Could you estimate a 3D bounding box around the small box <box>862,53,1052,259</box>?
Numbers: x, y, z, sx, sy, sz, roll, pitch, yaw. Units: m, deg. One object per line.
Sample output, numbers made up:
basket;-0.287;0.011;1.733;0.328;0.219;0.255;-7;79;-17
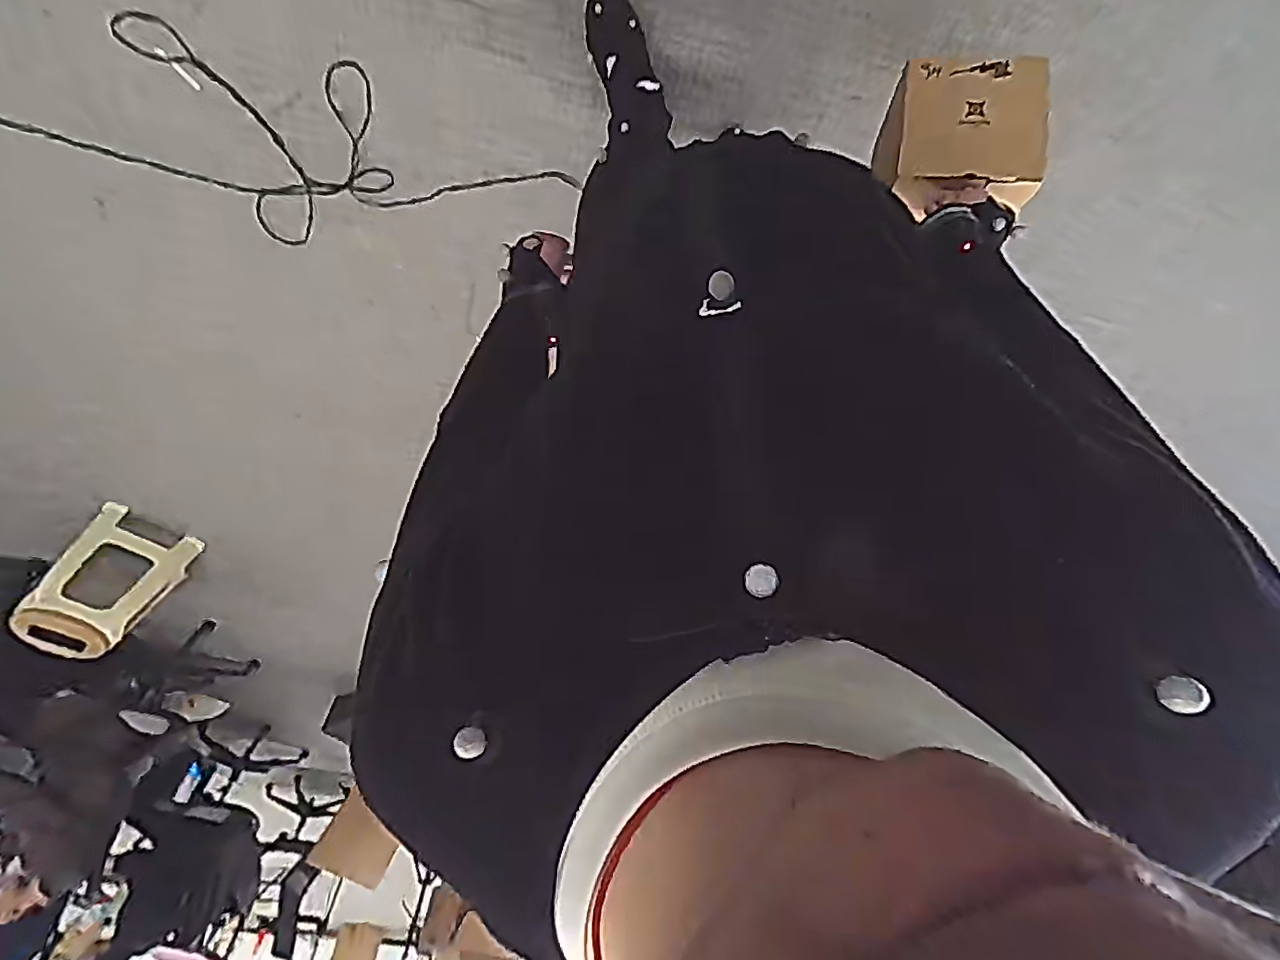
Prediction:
small box;0.413;-0.426;0.733;0.168;0.179;0.176;9;172;8
